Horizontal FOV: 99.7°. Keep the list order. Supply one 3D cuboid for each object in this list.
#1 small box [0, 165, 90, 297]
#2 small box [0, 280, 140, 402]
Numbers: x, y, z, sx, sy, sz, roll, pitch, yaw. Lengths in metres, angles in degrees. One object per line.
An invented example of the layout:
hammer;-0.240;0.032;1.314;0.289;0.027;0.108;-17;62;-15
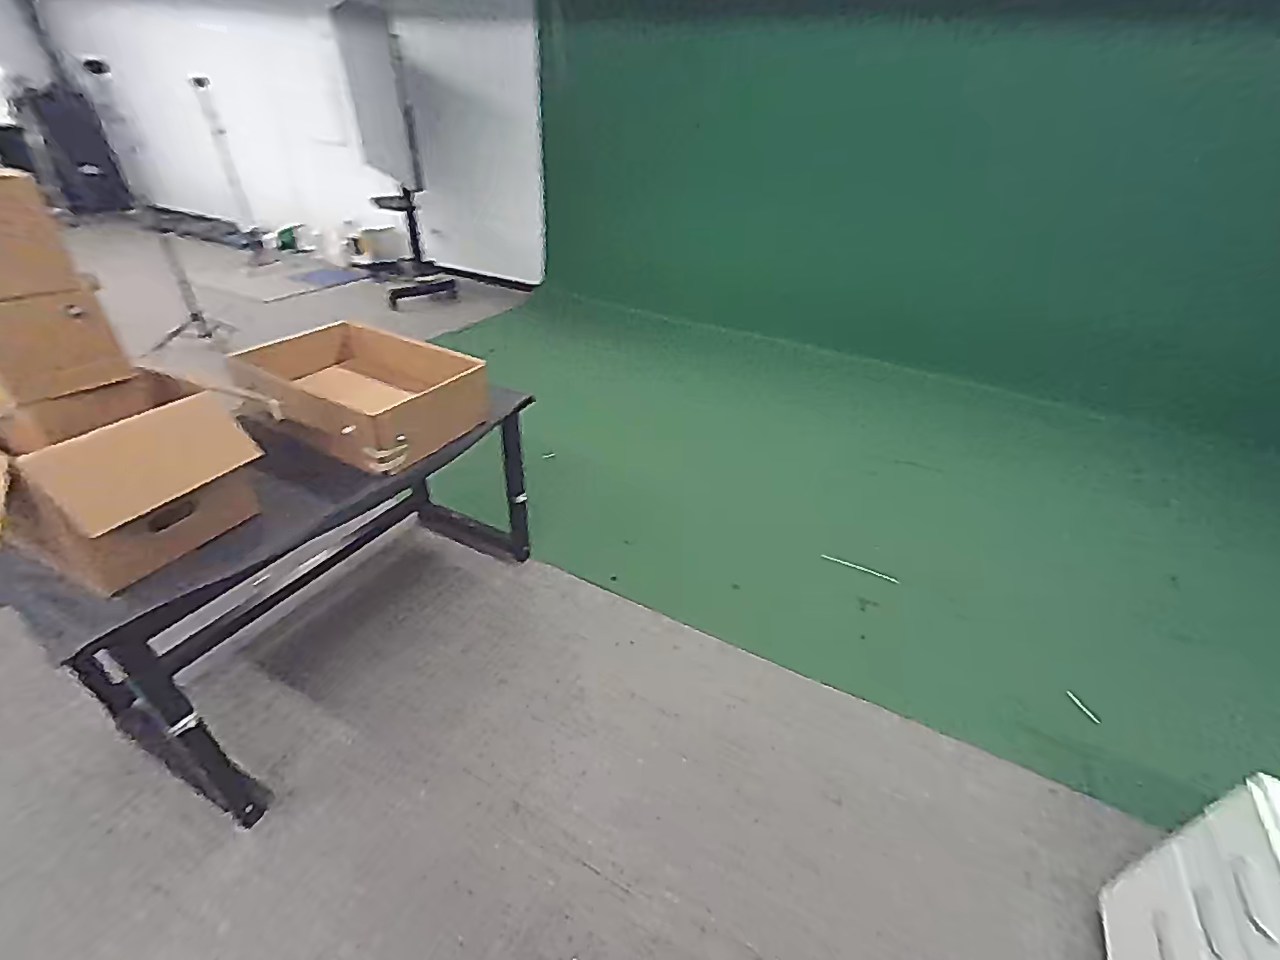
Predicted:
small box;-1.035;-0.385;0.840;0.168;0.176;0.179;22;38;23
small box;-1.037;-0.253;0.937;0.168;0.176;0.179;23;38;24
